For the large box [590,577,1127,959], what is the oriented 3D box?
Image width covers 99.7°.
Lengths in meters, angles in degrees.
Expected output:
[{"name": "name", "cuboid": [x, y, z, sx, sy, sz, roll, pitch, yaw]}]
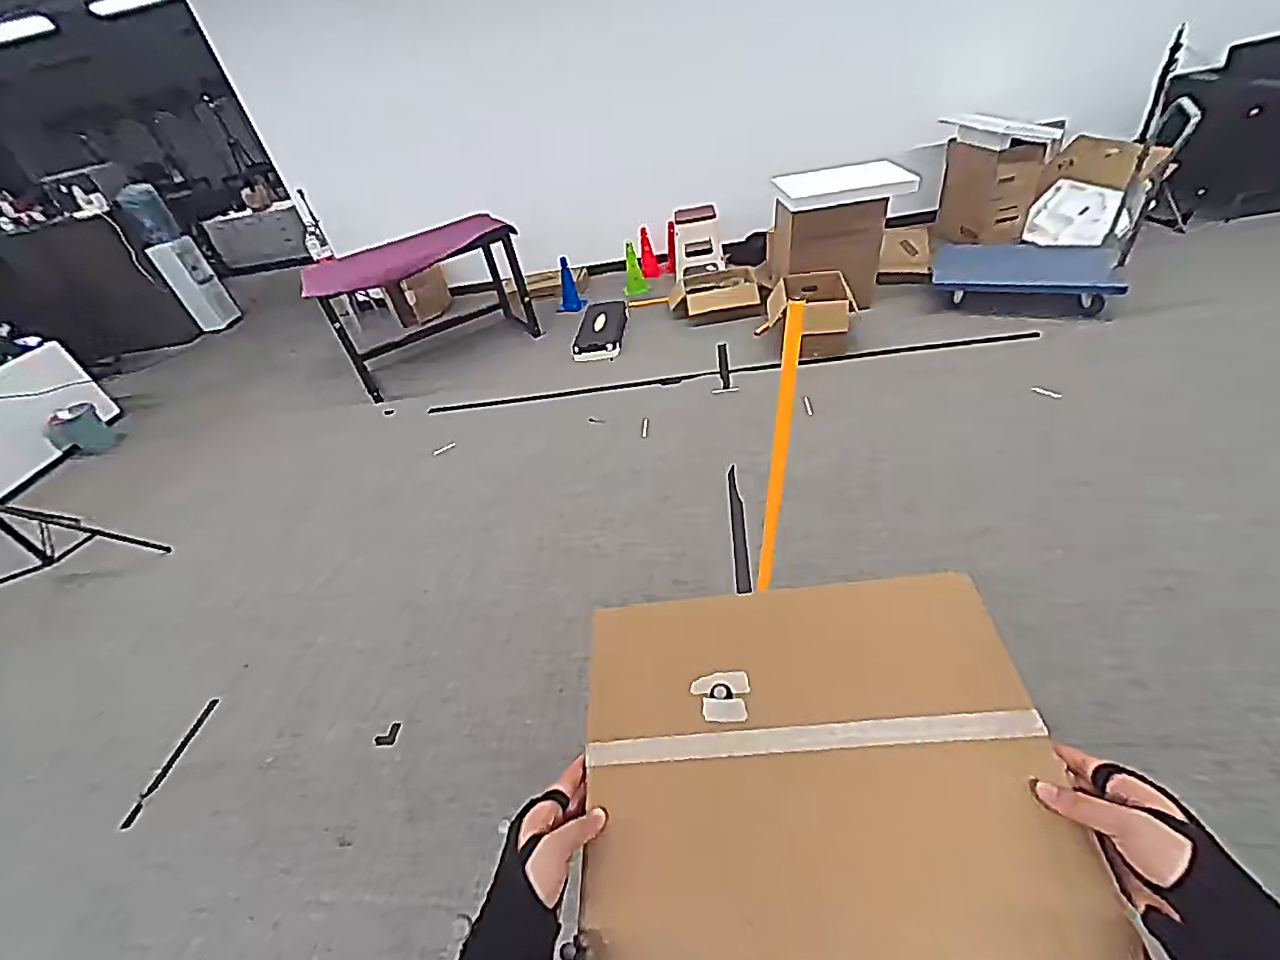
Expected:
[{"name": "large box", "cuboid": [0.183, 0.345, 0.614, 0.408, 0.320, 0.320, -9, 46, 9]}]
